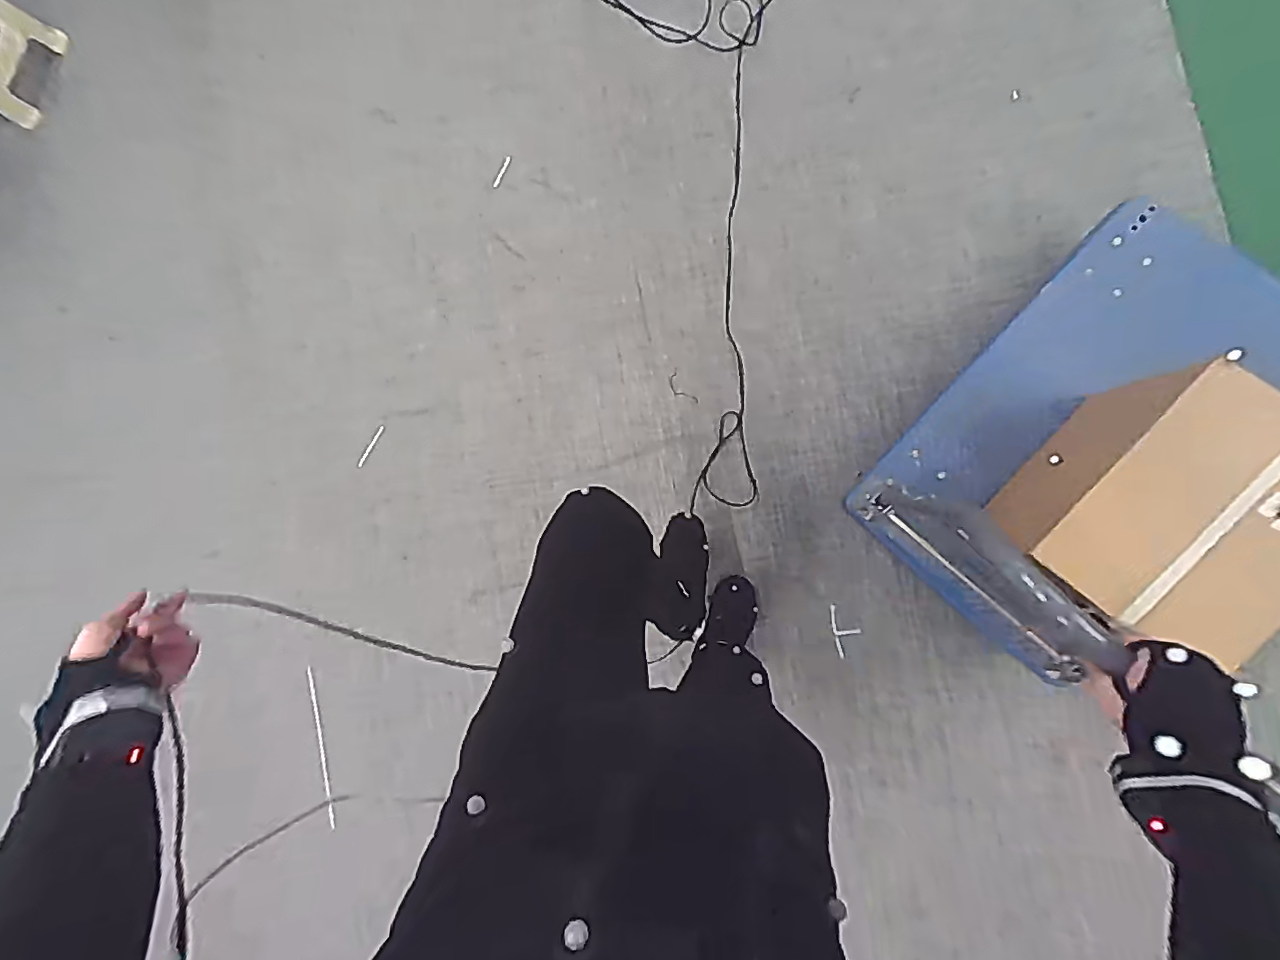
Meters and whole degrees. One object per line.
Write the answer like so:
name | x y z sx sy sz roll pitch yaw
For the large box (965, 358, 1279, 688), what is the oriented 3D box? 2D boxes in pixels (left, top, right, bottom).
large box | 0.885 0.071 0.951 0.320 0.320 0.408 41 95 9
